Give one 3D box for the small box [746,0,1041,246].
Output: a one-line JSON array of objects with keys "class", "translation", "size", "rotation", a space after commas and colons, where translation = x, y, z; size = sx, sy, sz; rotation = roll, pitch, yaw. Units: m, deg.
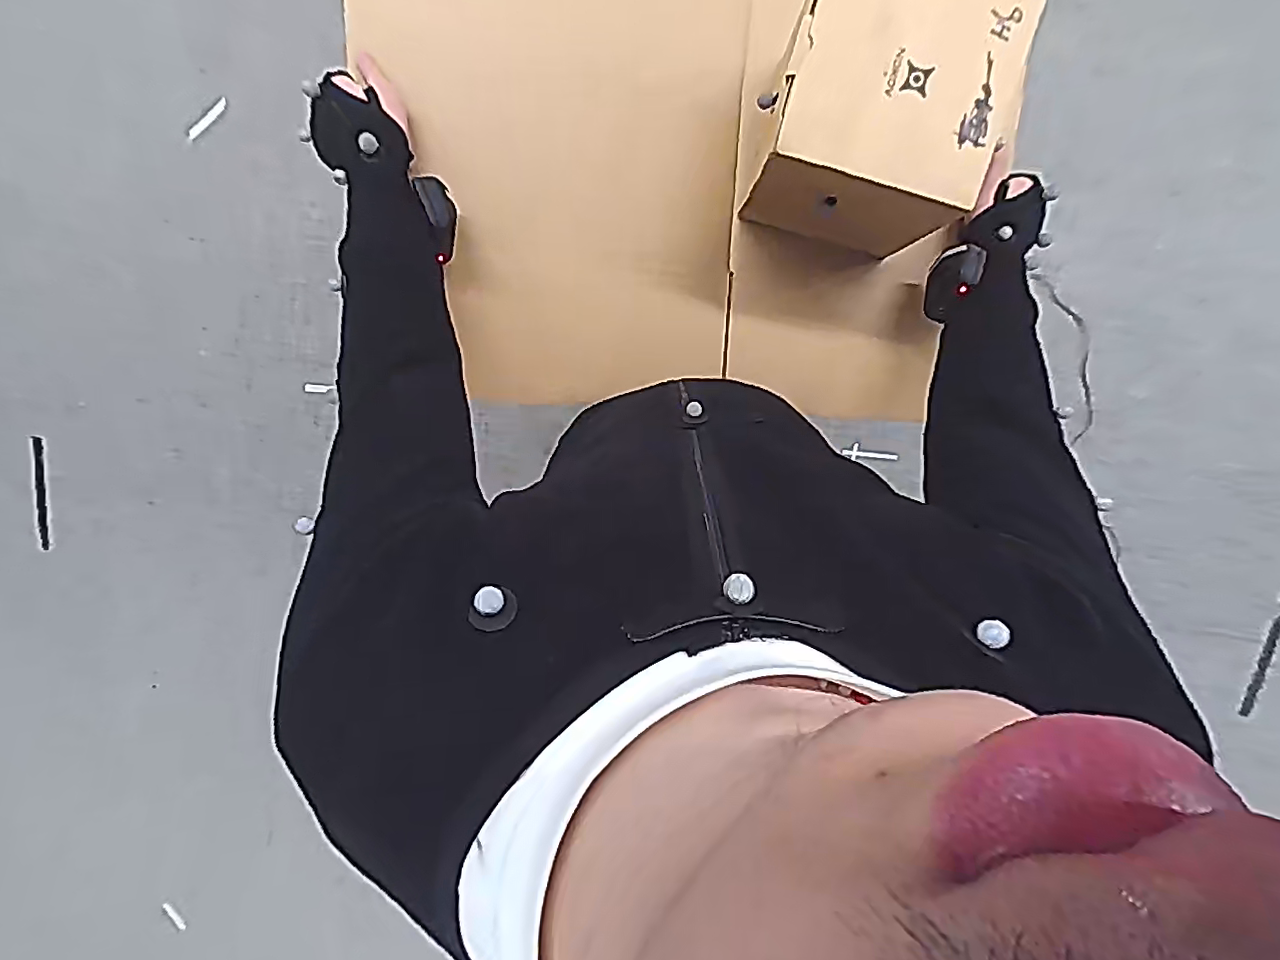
[{"class": "small box", "translation": [0.214, -0.343, 0.514], "size": [0.179, 0.176, 0.168], "rotation": [16, 99, -1]}]
